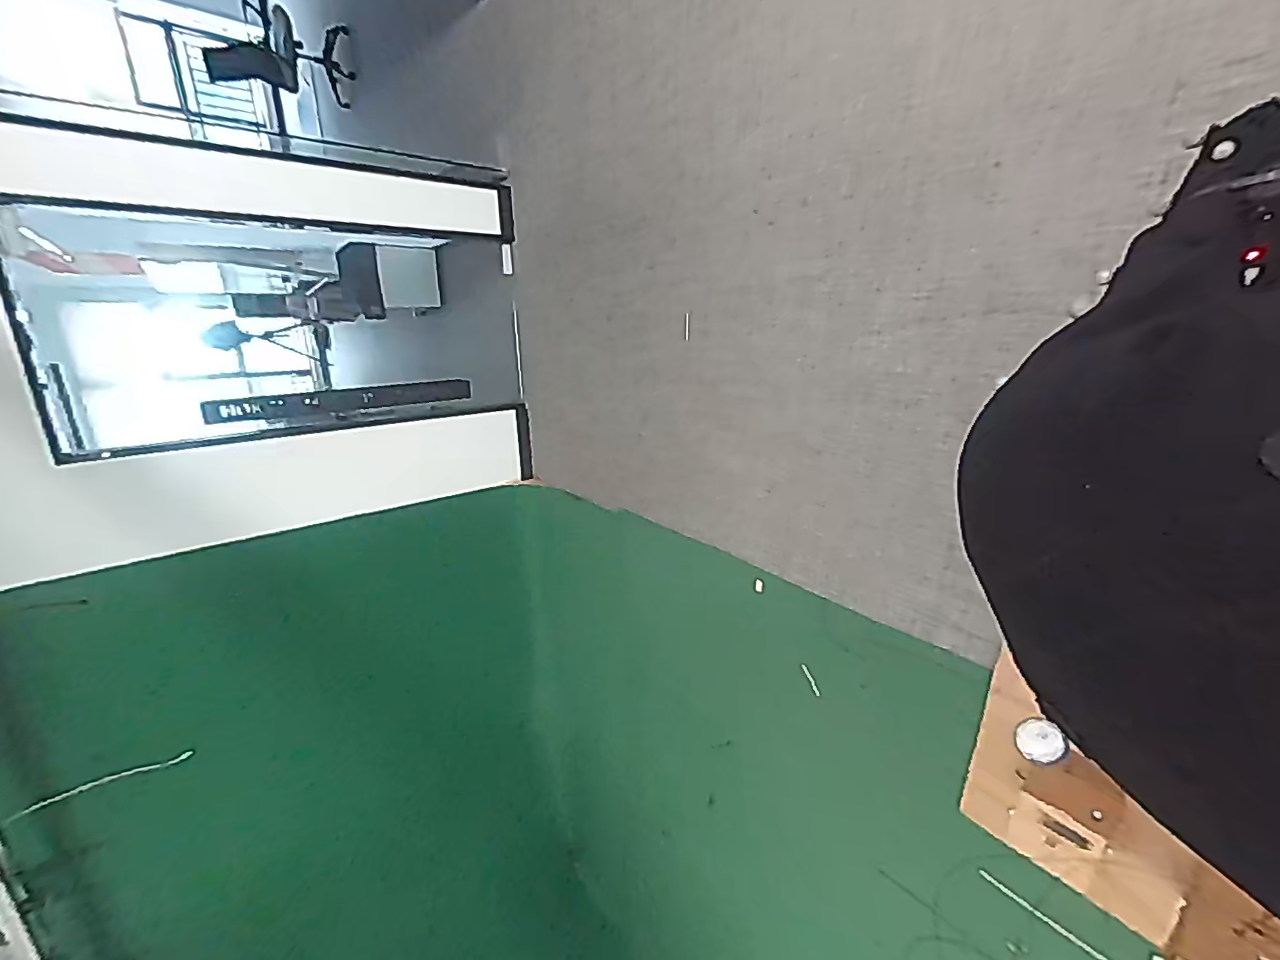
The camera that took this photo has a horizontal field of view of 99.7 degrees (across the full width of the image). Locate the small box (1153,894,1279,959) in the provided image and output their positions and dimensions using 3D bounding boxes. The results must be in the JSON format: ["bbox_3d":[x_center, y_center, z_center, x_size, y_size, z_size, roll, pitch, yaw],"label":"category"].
[{"bbox_3d":[1.061,0.923,0.982,0.168,0.176,0.179,25,120,46],"label":"small box"}]

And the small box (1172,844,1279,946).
[{"bbox_3d":[1.191,0.881,1.071,0.168,0.176,0.179,23,120,46],"label":"small box"}]
